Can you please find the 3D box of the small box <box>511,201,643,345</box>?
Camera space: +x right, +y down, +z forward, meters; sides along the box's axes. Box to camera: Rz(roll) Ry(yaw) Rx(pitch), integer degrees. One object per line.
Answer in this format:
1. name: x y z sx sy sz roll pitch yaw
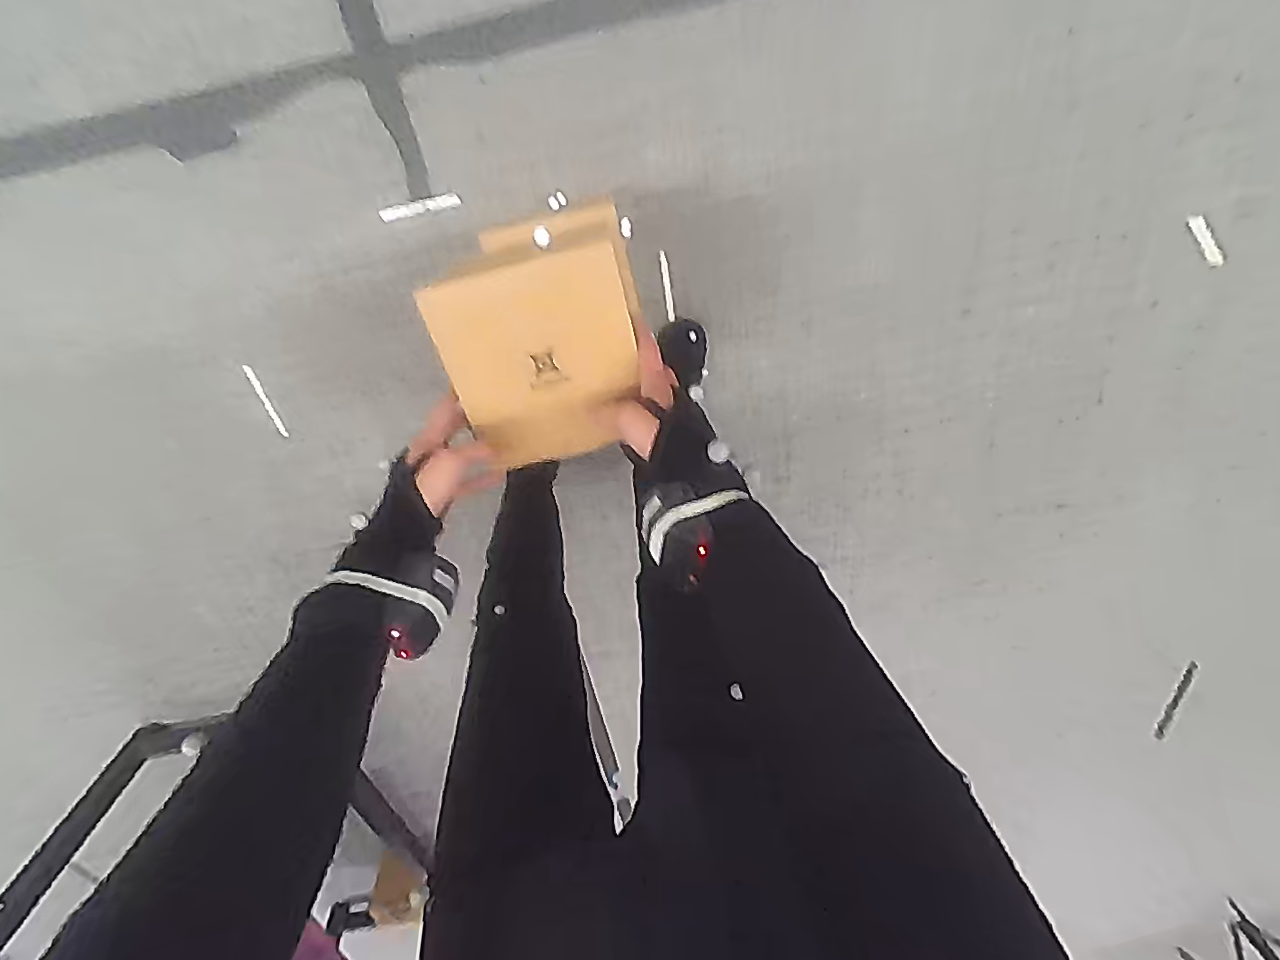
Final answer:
1. small box: -0.097 -0.346 0.886 0.168 0.176 0.179 -13 121 4
